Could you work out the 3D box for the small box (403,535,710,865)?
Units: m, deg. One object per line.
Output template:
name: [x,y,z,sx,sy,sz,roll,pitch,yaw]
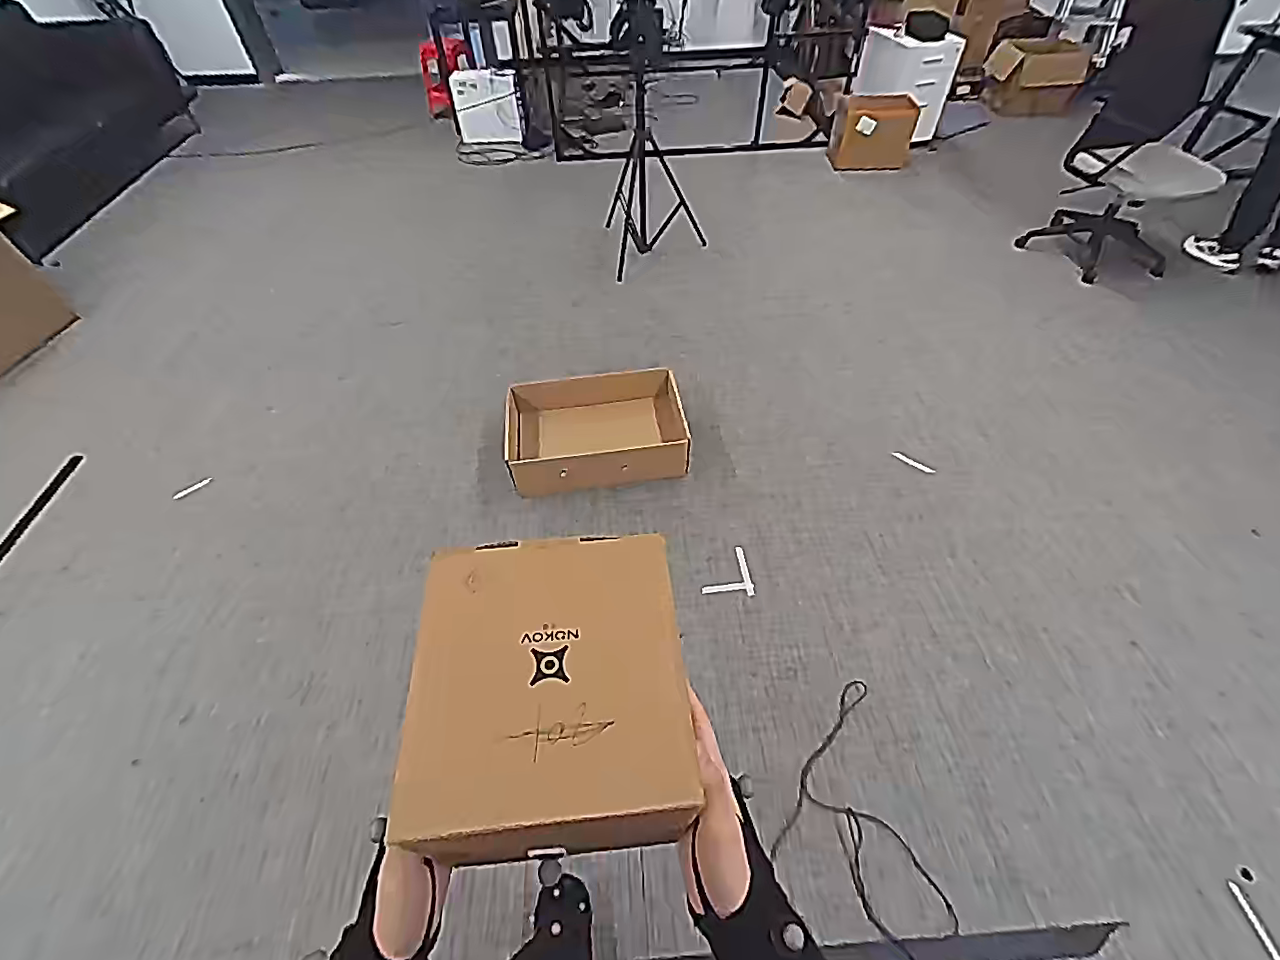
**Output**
small box: [-0.054,0.163,0.399,0.168,0.176,0.179,-5,52,-5]
